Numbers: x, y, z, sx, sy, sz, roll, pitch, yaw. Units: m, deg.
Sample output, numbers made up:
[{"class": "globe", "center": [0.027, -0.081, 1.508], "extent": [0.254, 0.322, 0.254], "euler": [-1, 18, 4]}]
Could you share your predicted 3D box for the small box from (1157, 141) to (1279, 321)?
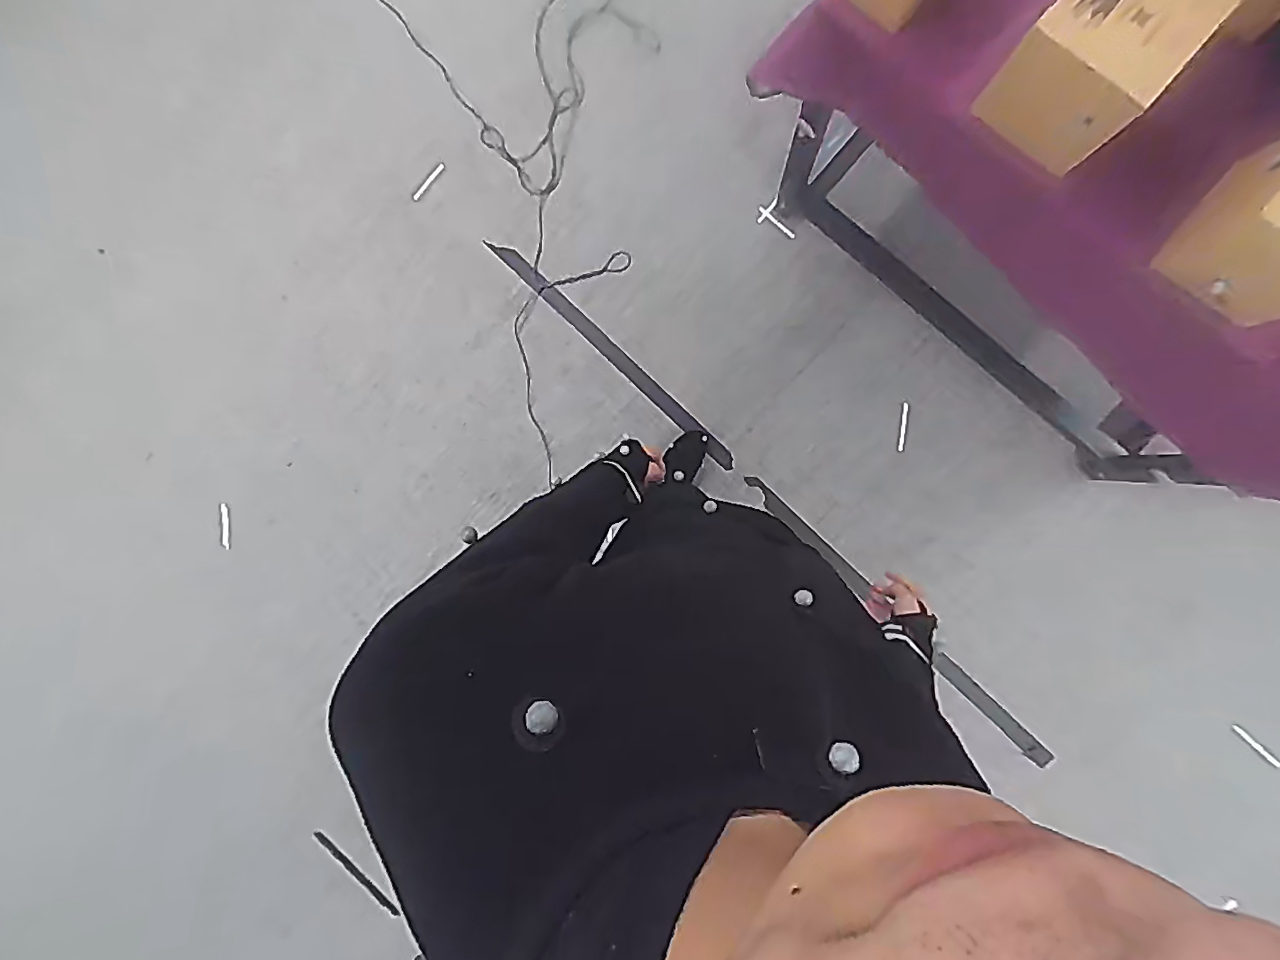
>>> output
[{"class": "small box", "center": [0.866, -0.343, 0.716], "extent": [0.168, 0.176, 0.179], "euler": [39, 96, 5]}]

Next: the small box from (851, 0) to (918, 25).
[{"class": "small box", "center": [0.370, -0.812, 0.762], "extent": [0.179, 0.176, 0.168], "euler": [41, 95, 3]}]
